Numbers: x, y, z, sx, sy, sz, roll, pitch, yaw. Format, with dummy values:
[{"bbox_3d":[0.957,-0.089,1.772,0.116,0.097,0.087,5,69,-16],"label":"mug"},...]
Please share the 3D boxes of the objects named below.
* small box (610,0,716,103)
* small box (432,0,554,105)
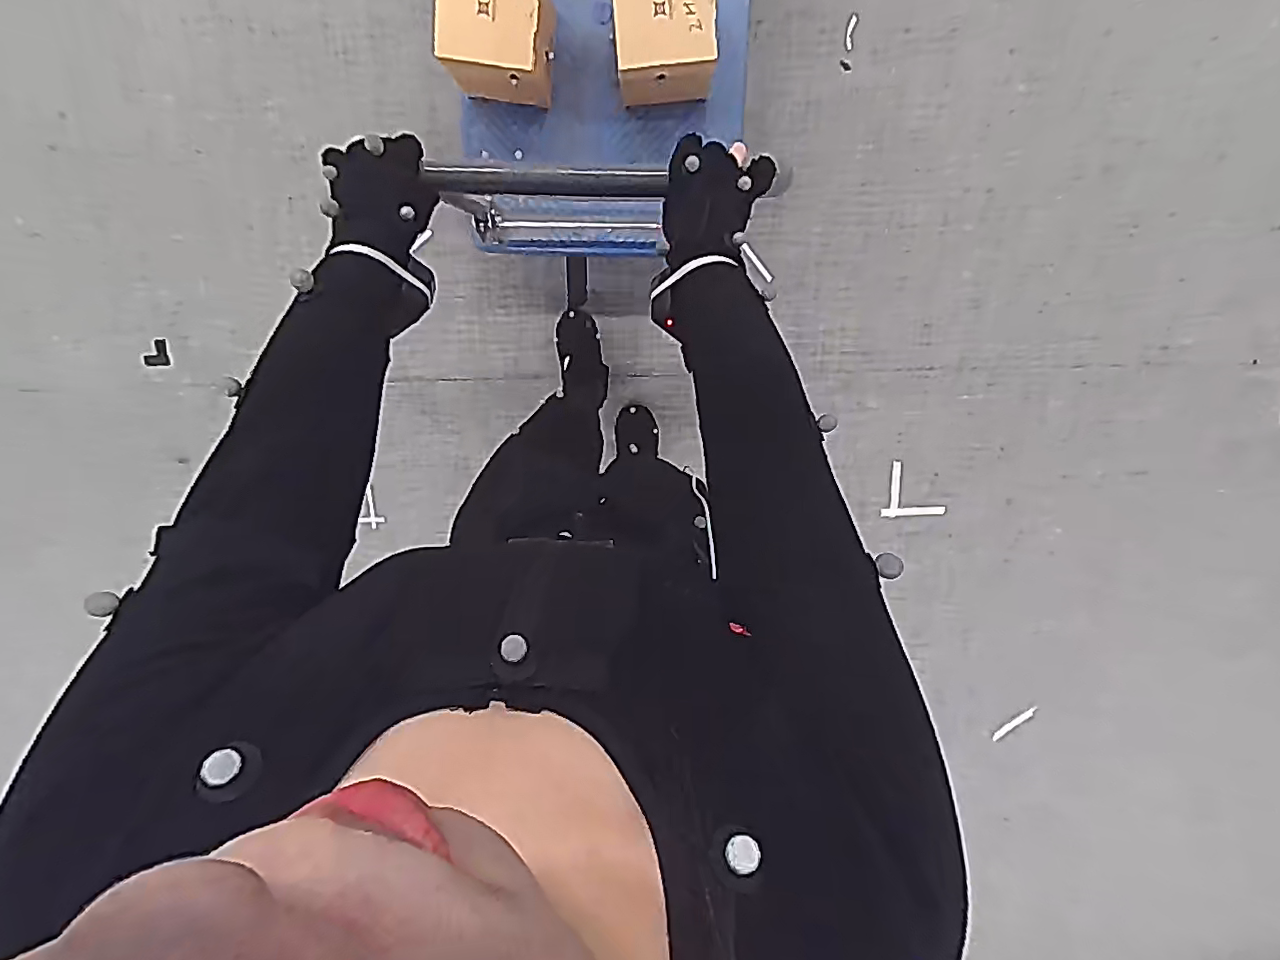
[{"bbox_3d":[0.041,-0.815,0.984,0.179,0.176,0.168,-4,107,3],"label":"small box"},{"bbox_3d":[-0.262,-0.820,0.991,0.179,0.176,0.168,7,106,-2],"label":"small box"}]
